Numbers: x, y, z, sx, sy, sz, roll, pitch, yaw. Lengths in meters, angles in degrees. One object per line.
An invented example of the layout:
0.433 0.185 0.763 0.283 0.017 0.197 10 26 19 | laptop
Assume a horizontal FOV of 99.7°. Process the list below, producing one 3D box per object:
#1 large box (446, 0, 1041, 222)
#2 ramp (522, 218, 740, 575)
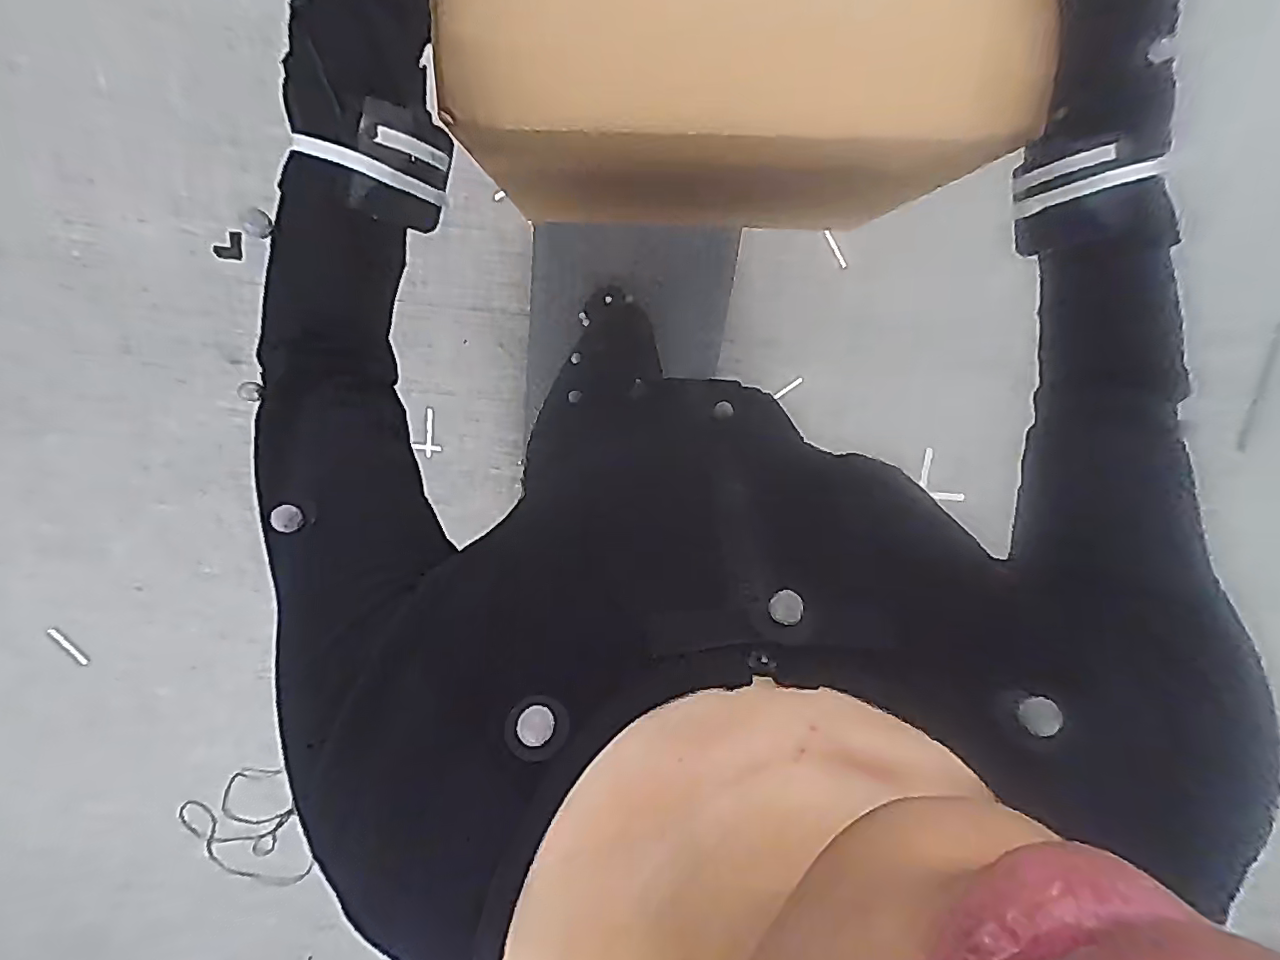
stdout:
0.064 -0.430 0.481 0.408 0.320 0.320 0 105 -2 | large box
-0.056 -0.183 1.456 0.509 0.206 0.991 4 103 -6 | ramp
